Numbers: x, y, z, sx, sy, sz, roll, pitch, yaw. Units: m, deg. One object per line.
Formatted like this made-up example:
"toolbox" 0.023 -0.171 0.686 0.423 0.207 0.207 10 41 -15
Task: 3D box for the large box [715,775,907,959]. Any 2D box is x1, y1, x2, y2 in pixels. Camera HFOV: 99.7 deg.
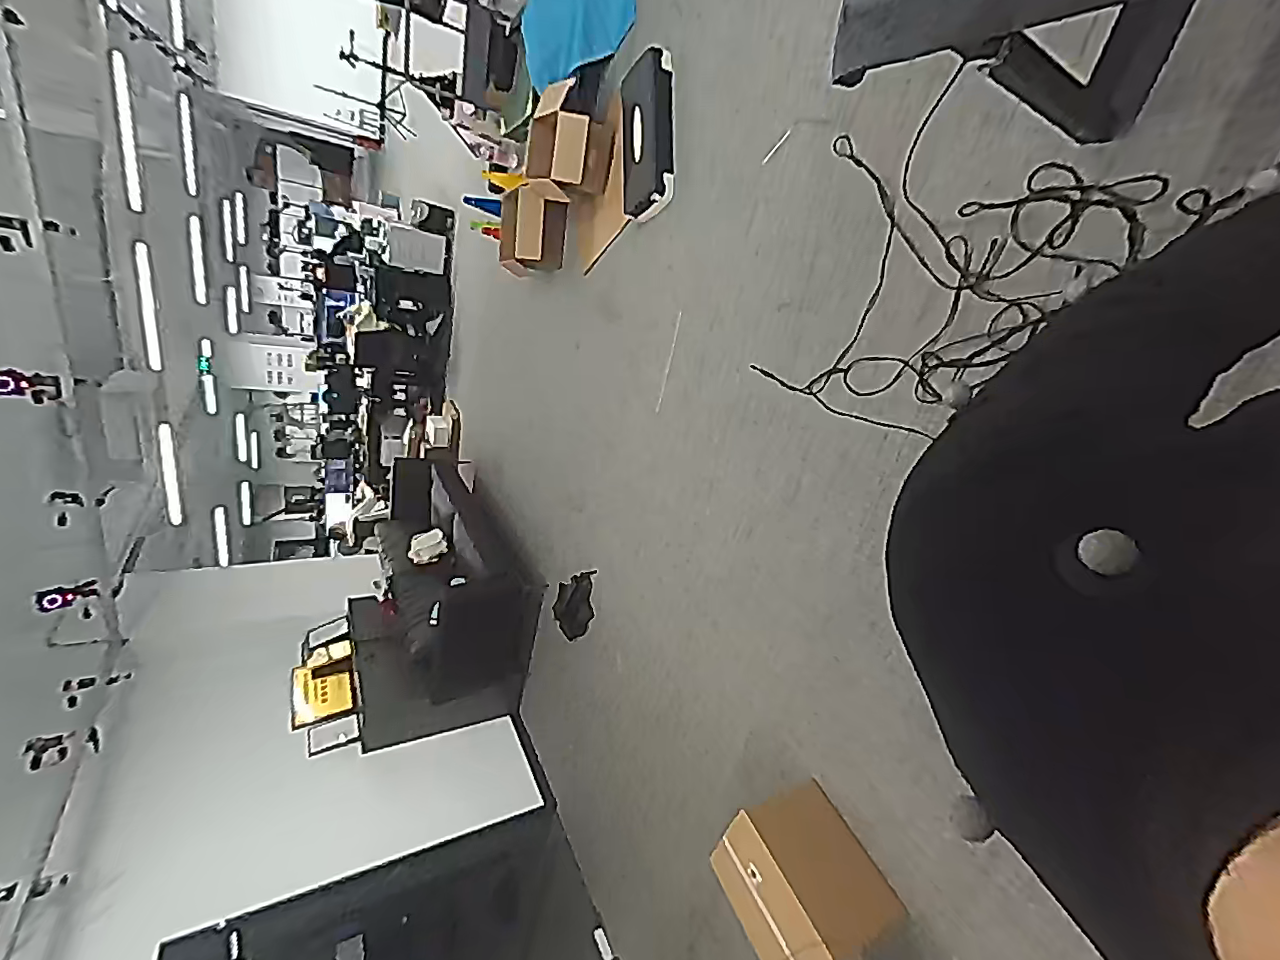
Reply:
"large box" 0.500 1.207 1.641 0.408 0.320 0.320 53 133 46
